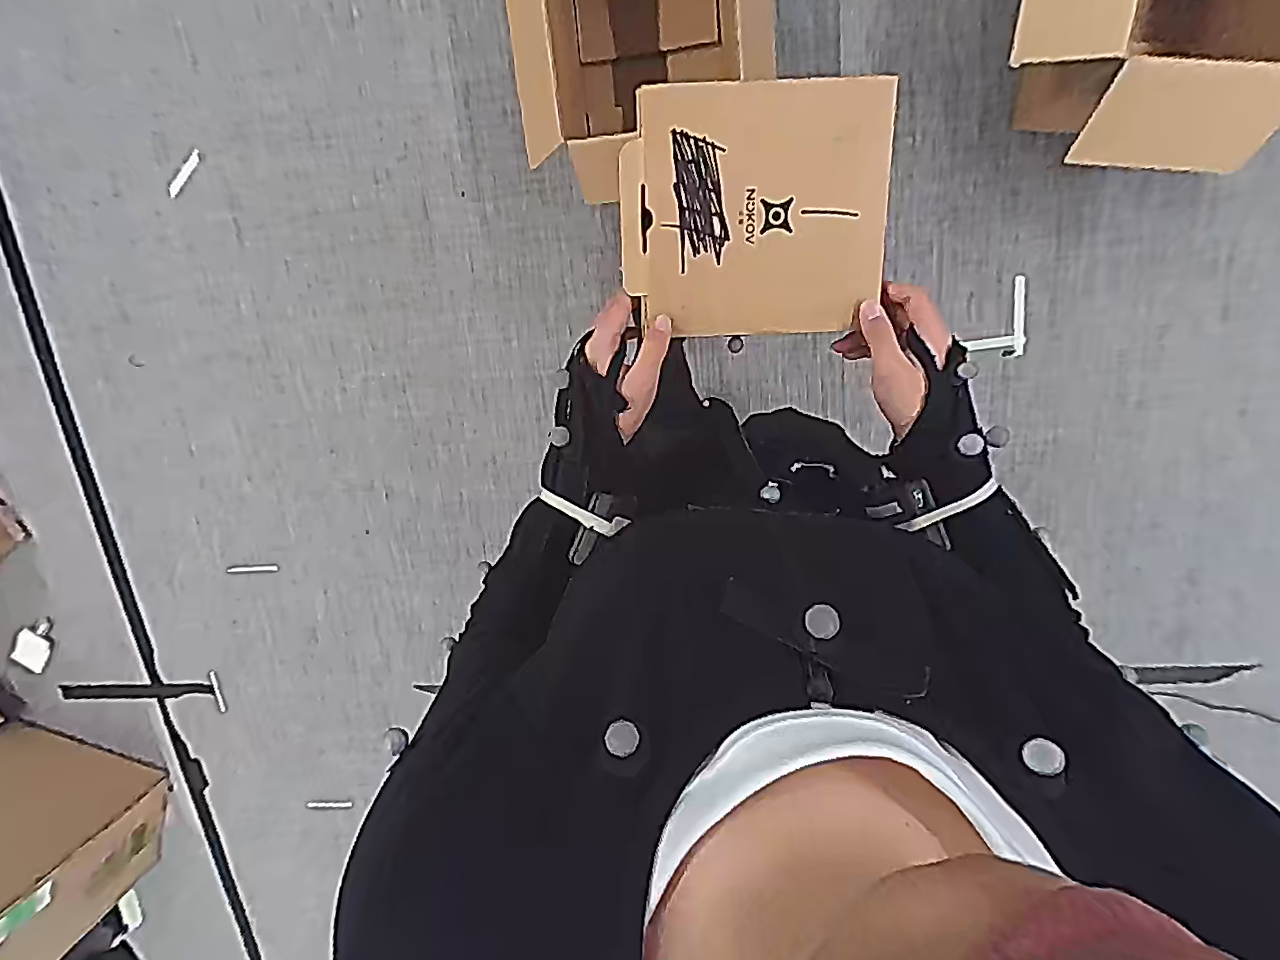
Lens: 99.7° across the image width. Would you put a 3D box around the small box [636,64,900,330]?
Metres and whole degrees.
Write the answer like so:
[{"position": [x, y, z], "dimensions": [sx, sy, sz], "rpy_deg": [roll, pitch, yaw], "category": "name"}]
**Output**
[{"position": [0.088, -0.213, 0.454], "dimensions": [0.179, 0.176, 0.168], "rpy_deg": [-2, 106, 0], "category": "small box"}]
